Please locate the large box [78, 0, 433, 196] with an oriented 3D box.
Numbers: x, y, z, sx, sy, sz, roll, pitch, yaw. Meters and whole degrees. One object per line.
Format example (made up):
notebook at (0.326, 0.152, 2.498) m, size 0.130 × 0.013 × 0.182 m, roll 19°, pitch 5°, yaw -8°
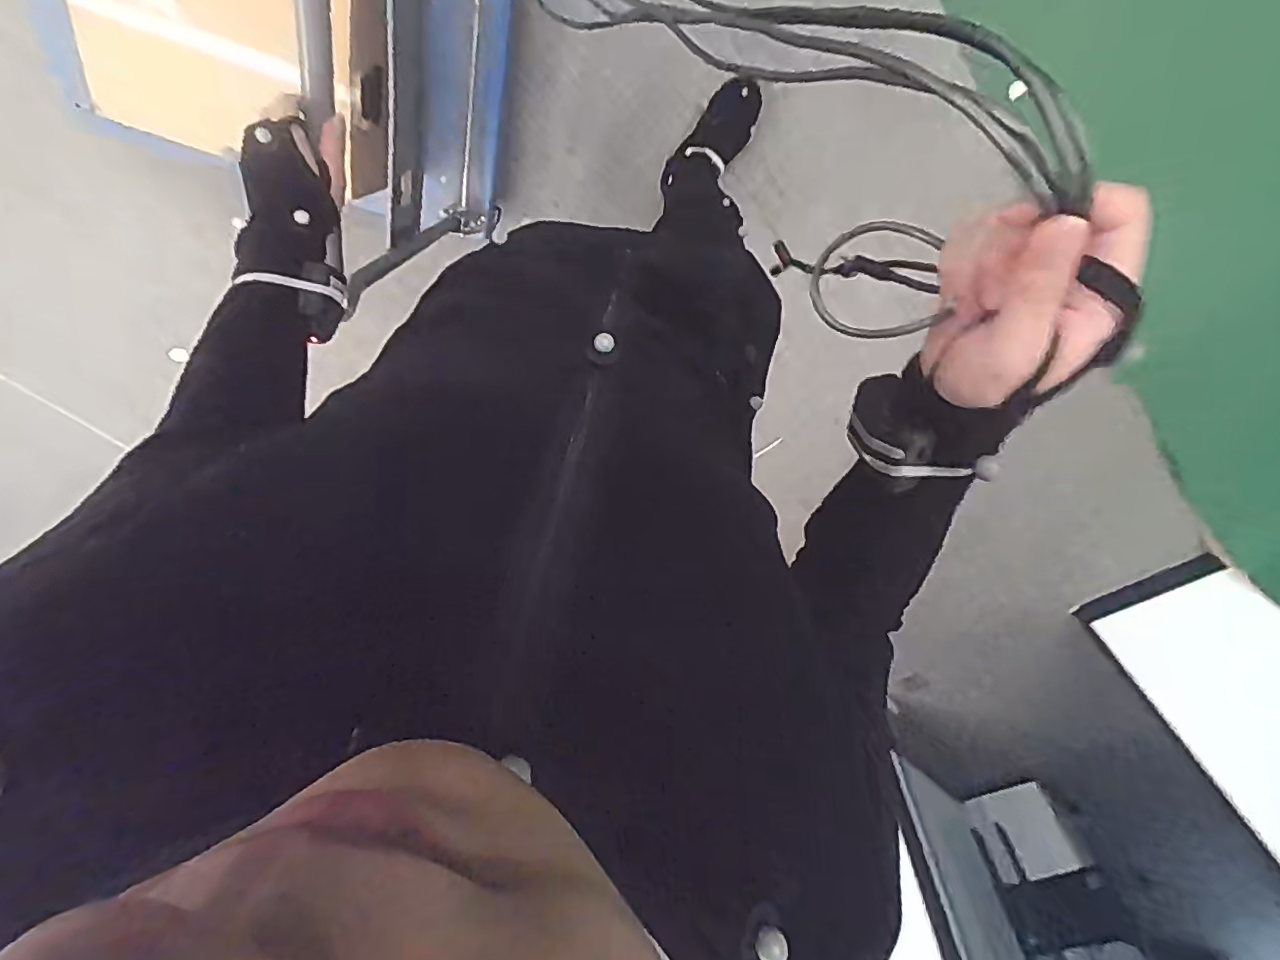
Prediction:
large box at (-0.608, -0.734, 0.920) m, size 0.408 × 0.320 × 0.320 m, roll 16°, pitch 125°, yaw -8°
